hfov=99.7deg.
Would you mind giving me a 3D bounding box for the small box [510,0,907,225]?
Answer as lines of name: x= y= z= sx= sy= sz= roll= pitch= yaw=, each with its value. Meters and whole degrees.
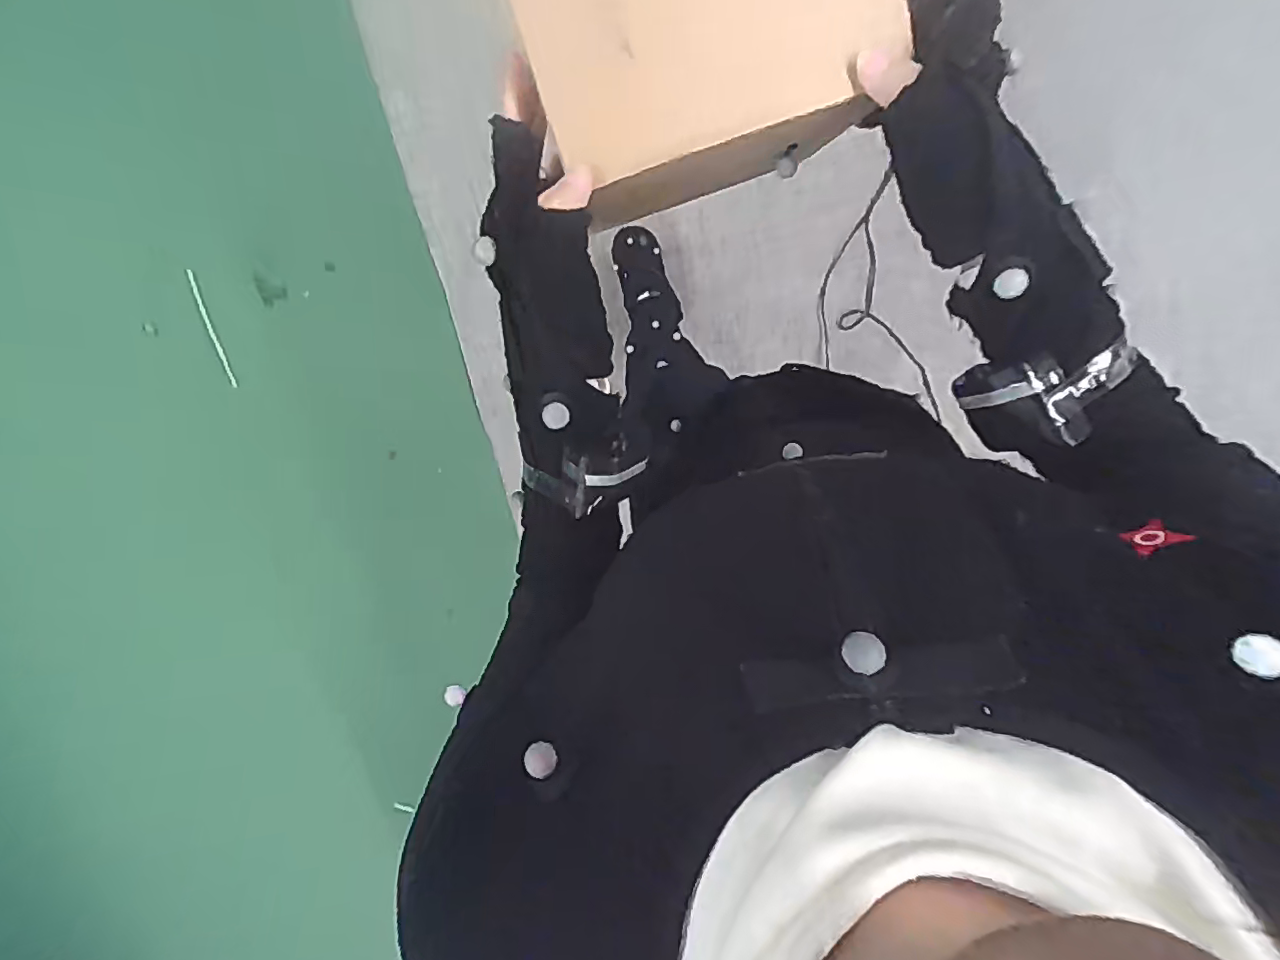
small box: x=0.021 y=-0.270 z=0.318 sx=0.179 sy=0.176 sz=0.168 roll=-18 pitch=107 yaw=5
